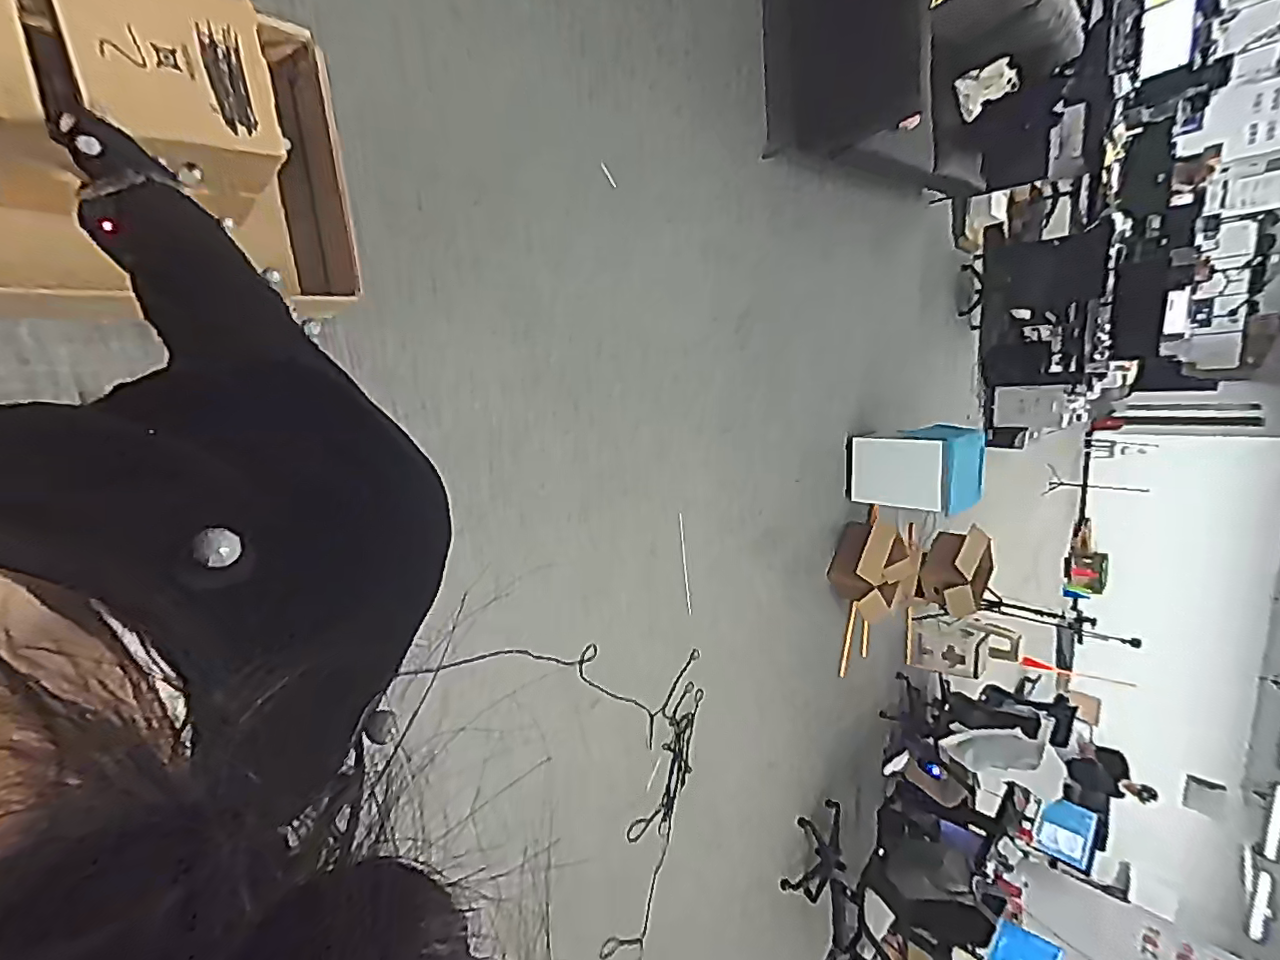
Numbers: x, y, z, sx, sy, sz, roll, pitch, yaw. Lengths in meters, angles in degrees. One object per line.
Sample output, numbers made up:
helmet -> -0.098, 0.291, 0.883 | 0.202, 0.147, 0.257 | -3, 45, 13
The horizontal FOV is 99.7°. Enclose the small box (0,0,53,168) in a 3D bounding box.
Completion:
small box -> -0.687, -0.425, 0.502 | 0.168, 0.176, 0.179 | -14, 105, -43
